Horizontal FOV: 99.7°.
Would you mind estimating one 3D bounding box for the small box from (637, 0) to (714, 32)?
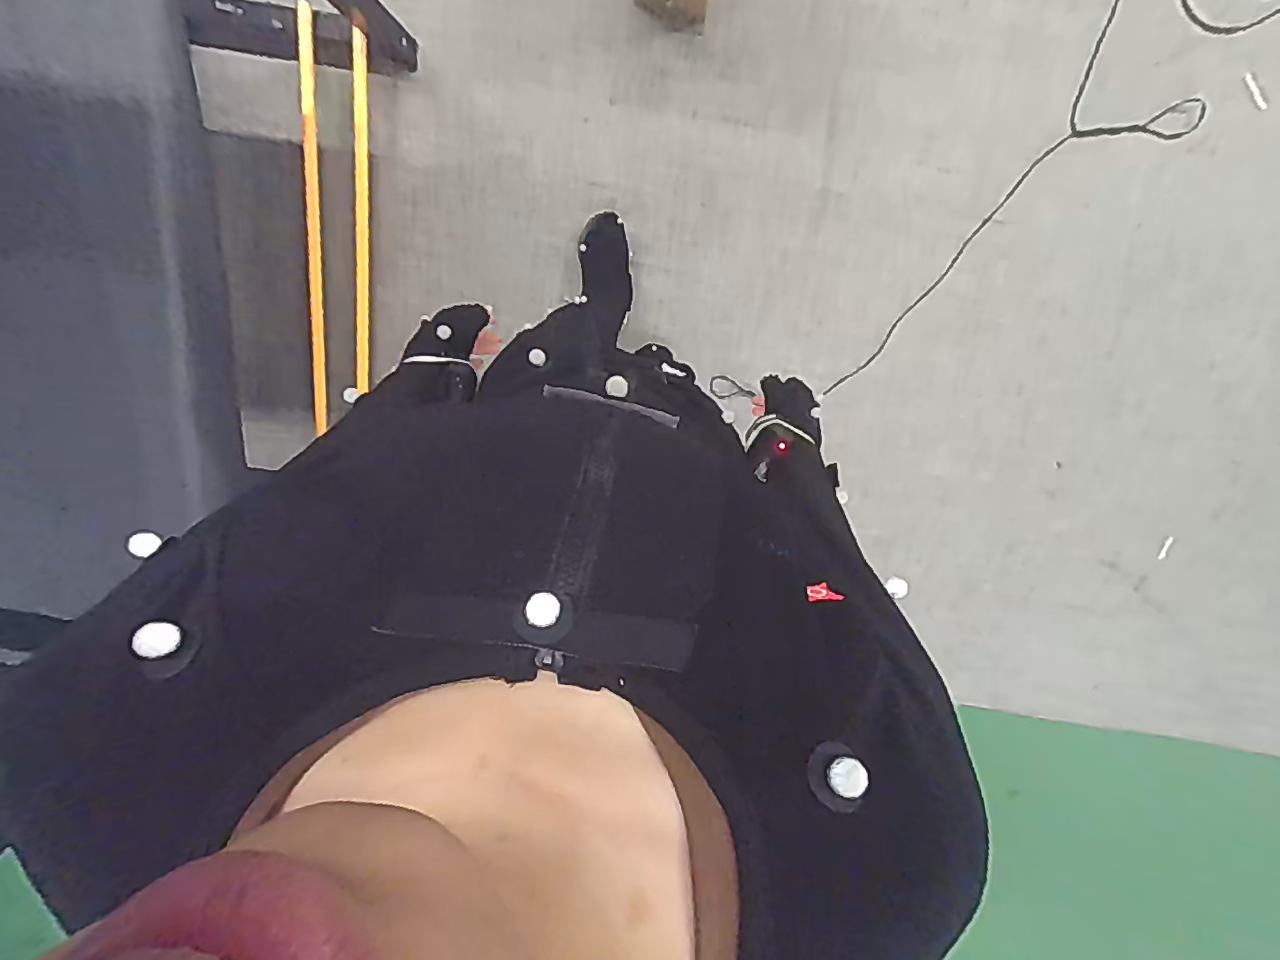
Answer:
[{"bbox_3d":[0.085,-1.062,1.087,0.168,0.176,0.179,15,107,-1],"label":"small box"}]
